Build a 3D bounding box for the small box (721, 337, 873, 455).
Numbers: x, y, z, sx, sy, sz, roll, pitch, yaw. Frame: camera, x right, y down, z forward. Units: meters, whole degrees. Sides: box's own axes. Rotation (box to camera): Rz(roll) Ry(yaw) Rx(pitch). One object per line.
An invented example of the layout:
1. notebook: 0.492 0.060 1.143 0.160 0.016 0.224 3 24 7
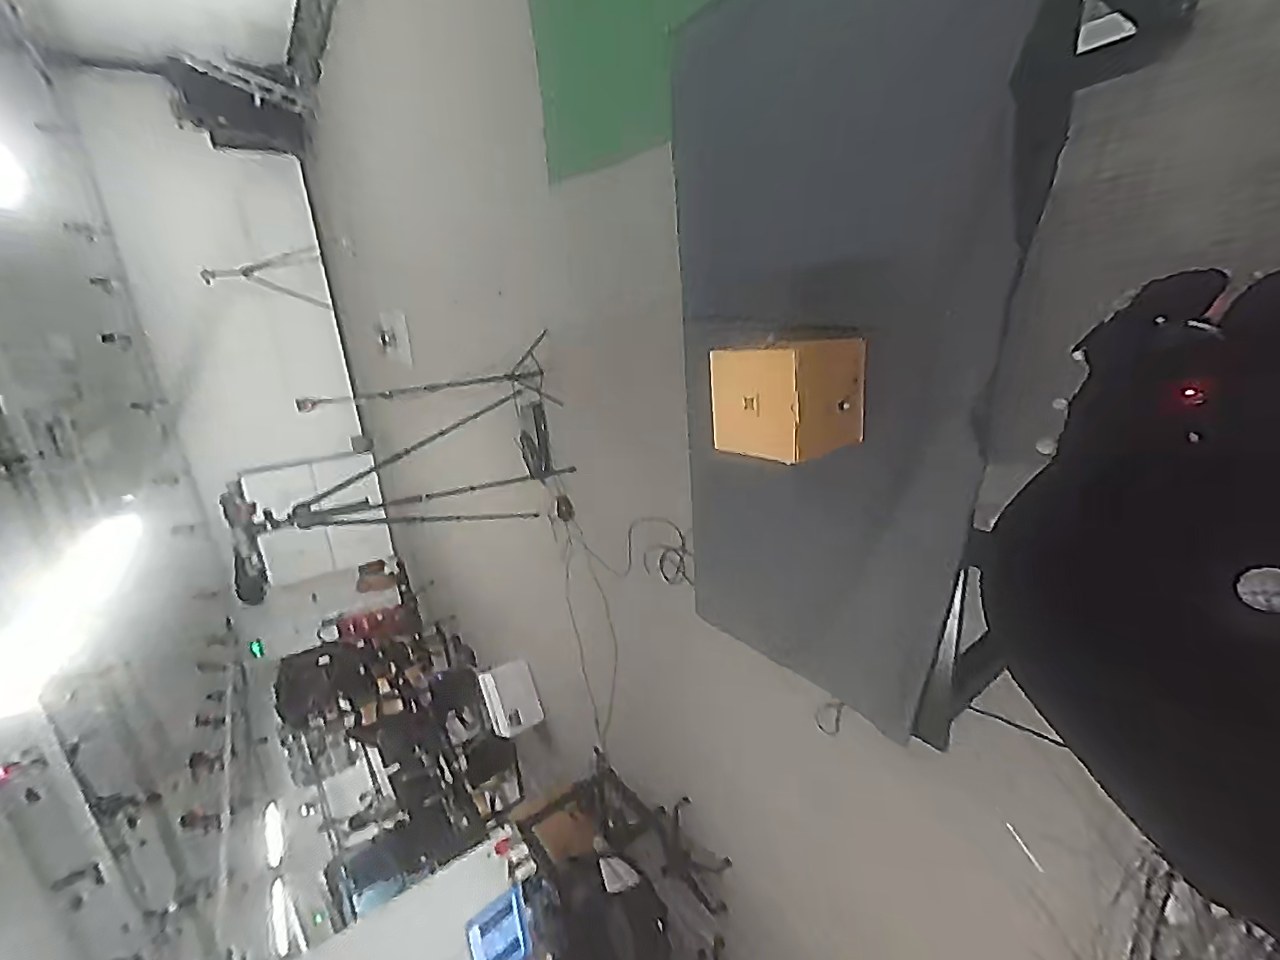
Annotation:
1. small box: 0.256 -0.146 0.895 0.179 0.176 0.168 15 115 52
